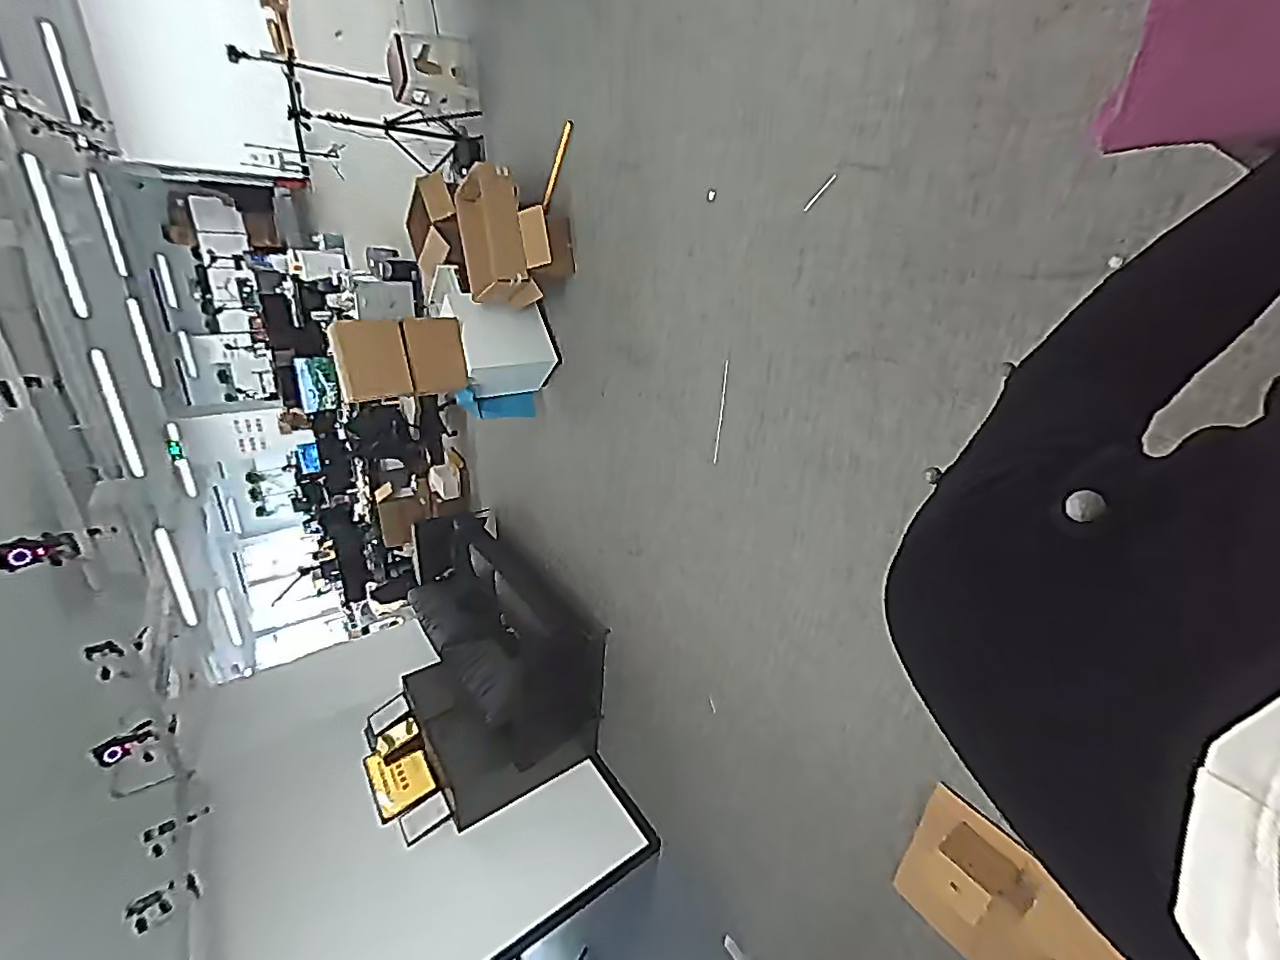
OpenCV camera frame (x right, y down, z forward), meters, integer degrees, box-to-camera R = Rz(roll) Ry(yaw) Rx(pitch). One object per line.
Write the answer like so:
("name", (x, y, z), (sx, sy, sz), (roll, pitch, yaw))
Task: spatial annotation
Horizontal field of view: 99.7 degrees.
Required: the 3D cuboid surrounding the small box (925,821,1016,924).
("small box", (1.066, 1.255, 1.742), (0.179, 0.176, 0.168), (34, 127, 44))
